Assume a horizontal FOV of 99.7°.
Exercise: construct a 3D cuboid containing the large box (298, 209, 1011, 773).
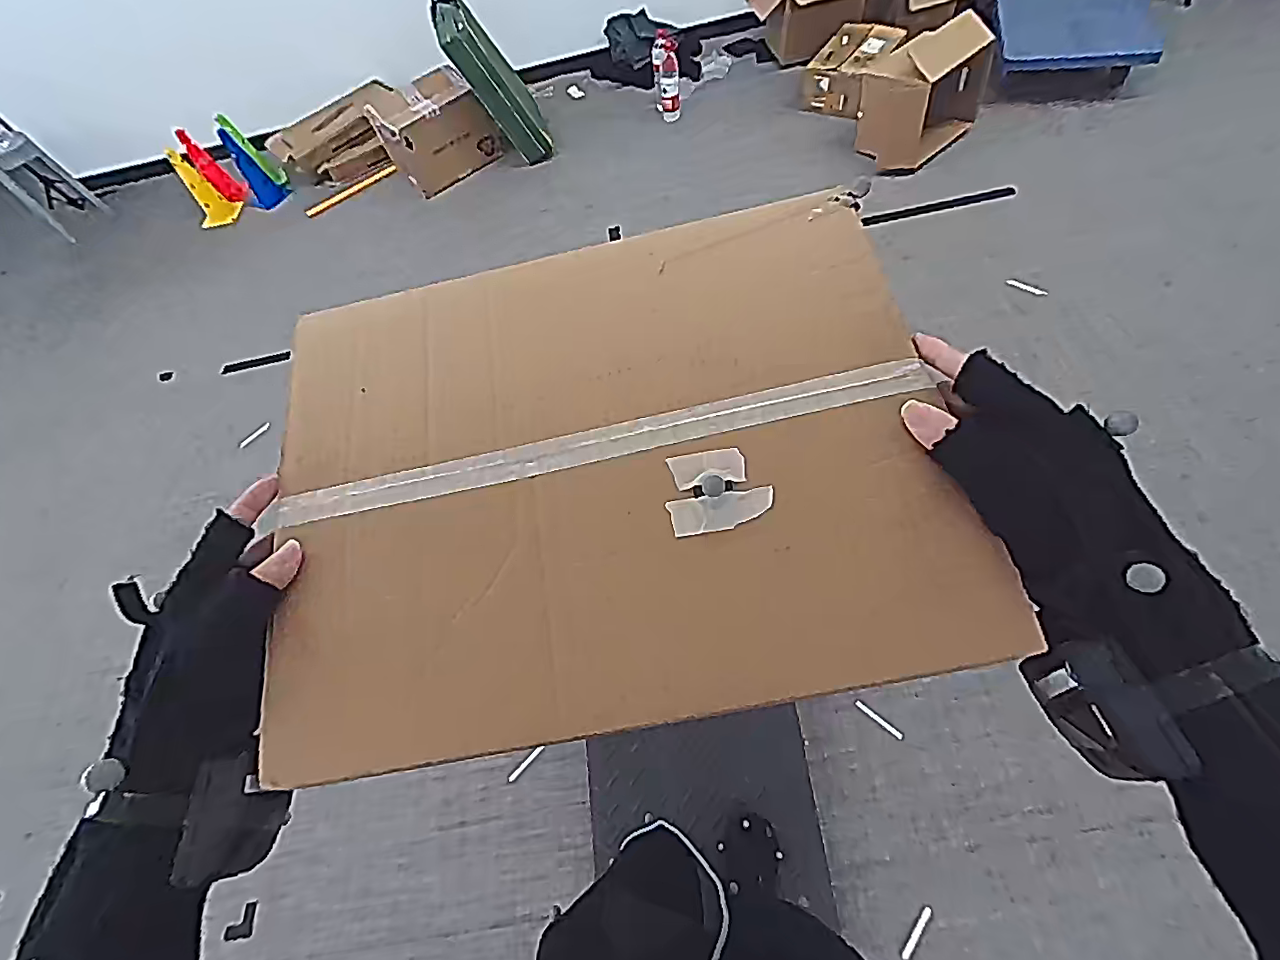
[{"bbox_3d":[-0.007,0.036,0.483,0.408,0.320,0.320,-12,69,3],"label":"large box"}]
